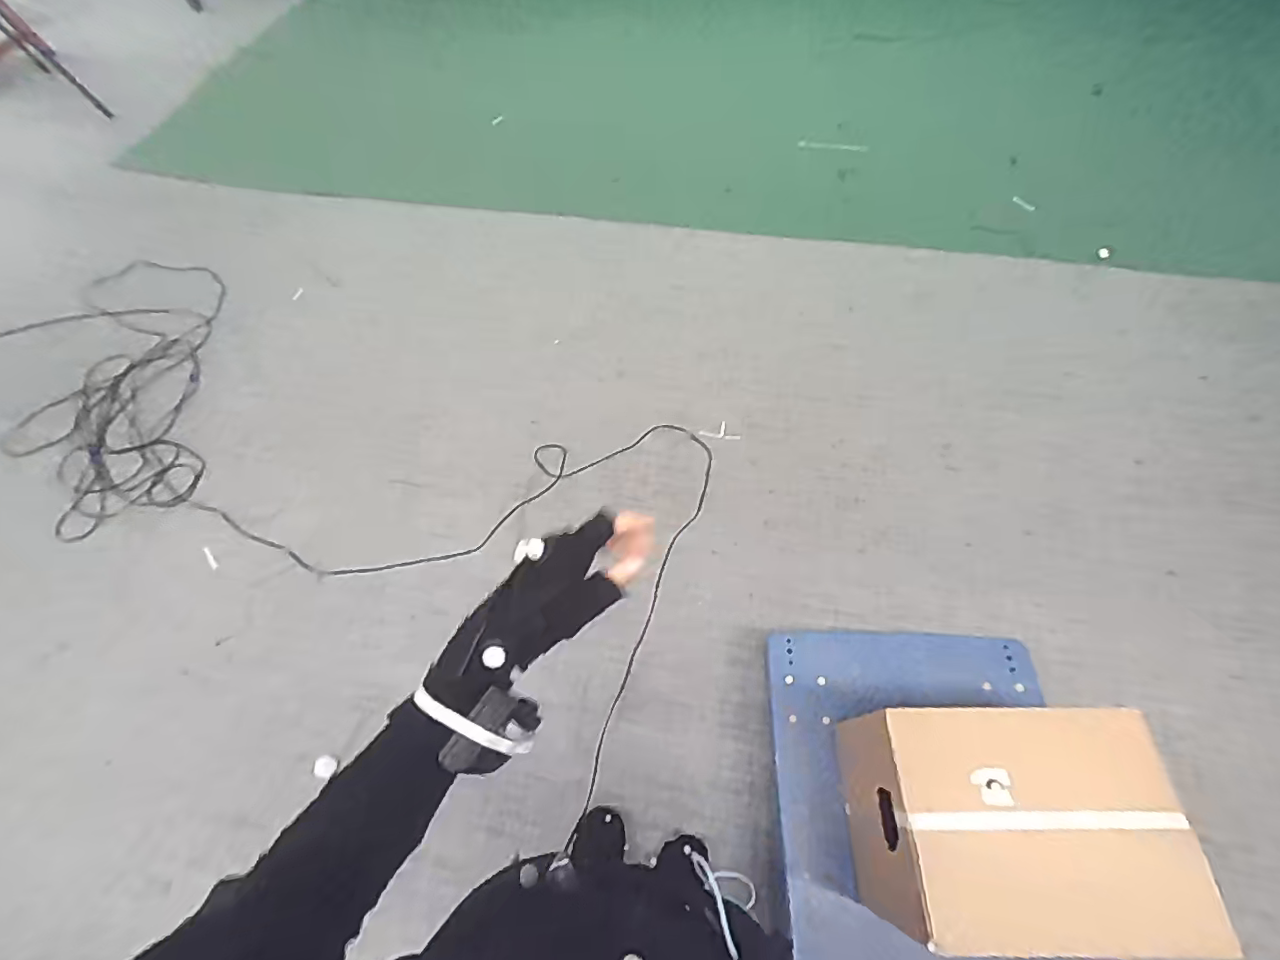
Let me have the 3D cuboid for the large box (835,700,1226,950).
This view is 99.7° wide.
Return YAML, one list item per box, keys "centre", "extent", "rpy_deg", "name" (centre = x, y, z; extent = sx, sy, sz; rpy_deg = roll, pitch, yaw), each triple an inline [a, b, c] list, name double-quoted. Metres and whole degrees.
- centre: [0.604, 0.572, 0.938]
  extent: [0.408, 0.320, 0.320]
  rpy_deg: [-2, 60, 2]
  name: "large box"
